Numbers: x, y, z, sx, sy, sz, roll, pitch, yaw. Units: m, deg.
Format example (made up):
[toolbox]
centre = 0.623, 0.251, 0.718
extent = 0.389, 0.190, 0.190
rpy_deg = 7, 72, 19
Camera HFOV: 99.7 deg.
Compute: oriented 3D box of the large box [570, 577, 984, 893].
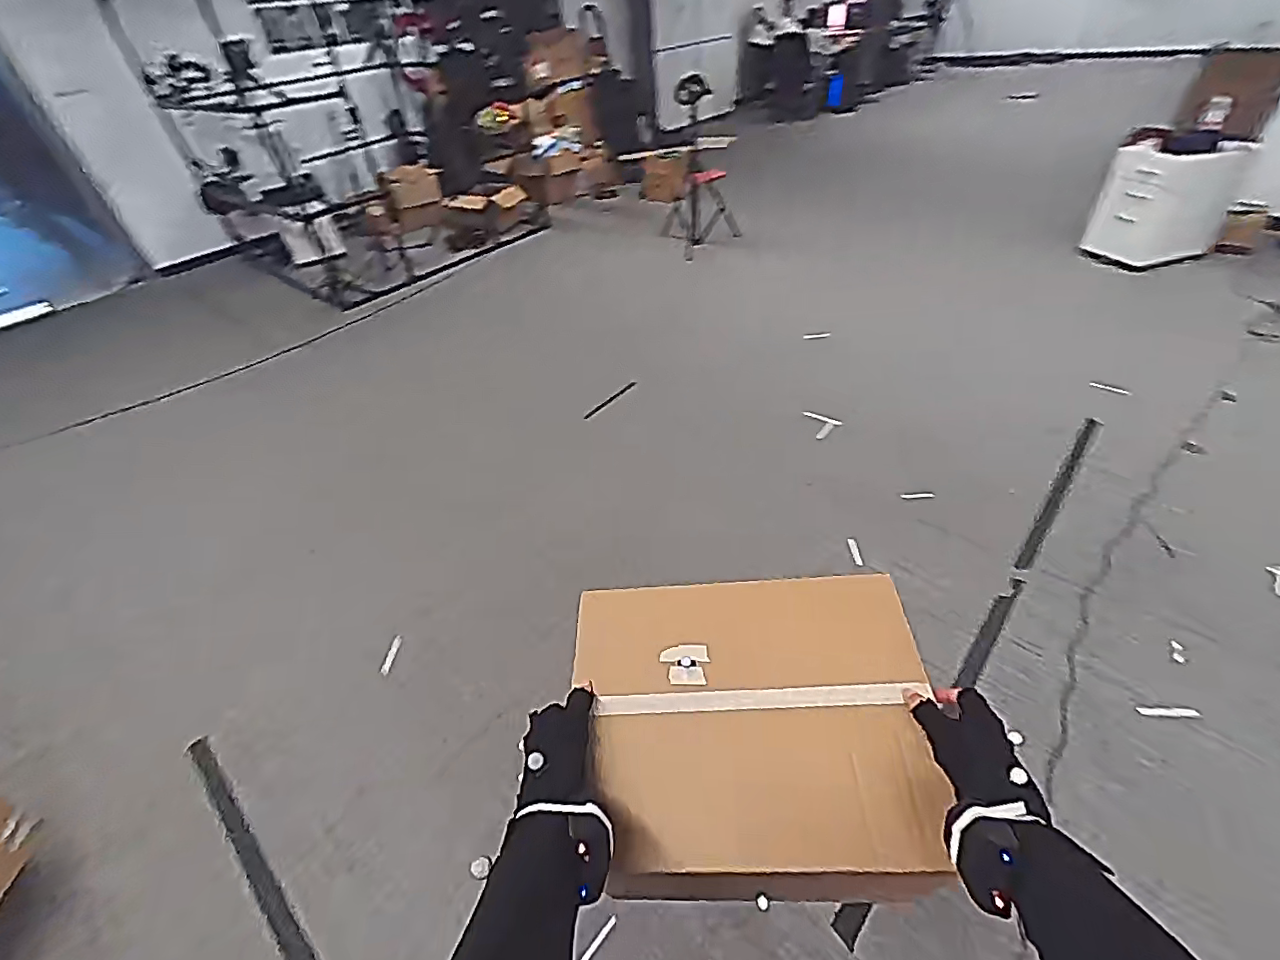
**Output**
[large box]
centre = 0.149, 0.354, 0.730
extent = 0.408, 0.320, 0.320
rpy_deg = -5, 47, 7
